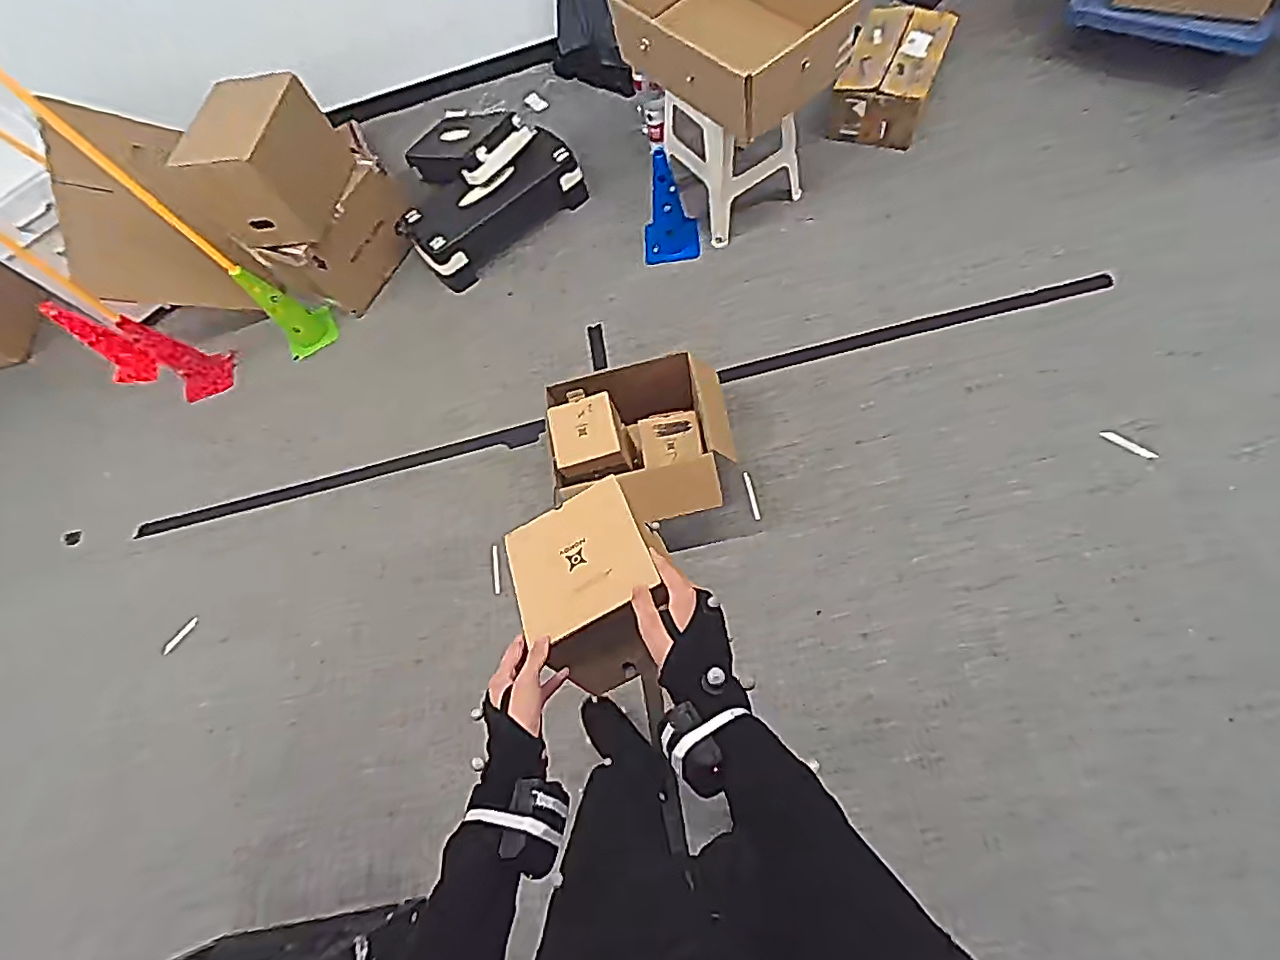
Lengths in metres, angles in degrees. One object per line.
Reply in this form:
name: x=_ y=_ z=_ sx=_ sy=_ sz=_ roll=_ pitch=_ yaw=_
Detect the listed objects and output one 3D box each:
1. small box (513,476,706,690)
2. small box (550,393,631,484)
small box: x=-0.038 y=0.134 z=0.687 sx=0.168 sy=0.176 sz=0.179 roll=-29 pitch=46 yaw=5
small box: x=-0.127 y=-0.101 z=1.438 sx=0.168 sy=0.176 sz=0.179 roll=-14 pitch=68 yaw=4
